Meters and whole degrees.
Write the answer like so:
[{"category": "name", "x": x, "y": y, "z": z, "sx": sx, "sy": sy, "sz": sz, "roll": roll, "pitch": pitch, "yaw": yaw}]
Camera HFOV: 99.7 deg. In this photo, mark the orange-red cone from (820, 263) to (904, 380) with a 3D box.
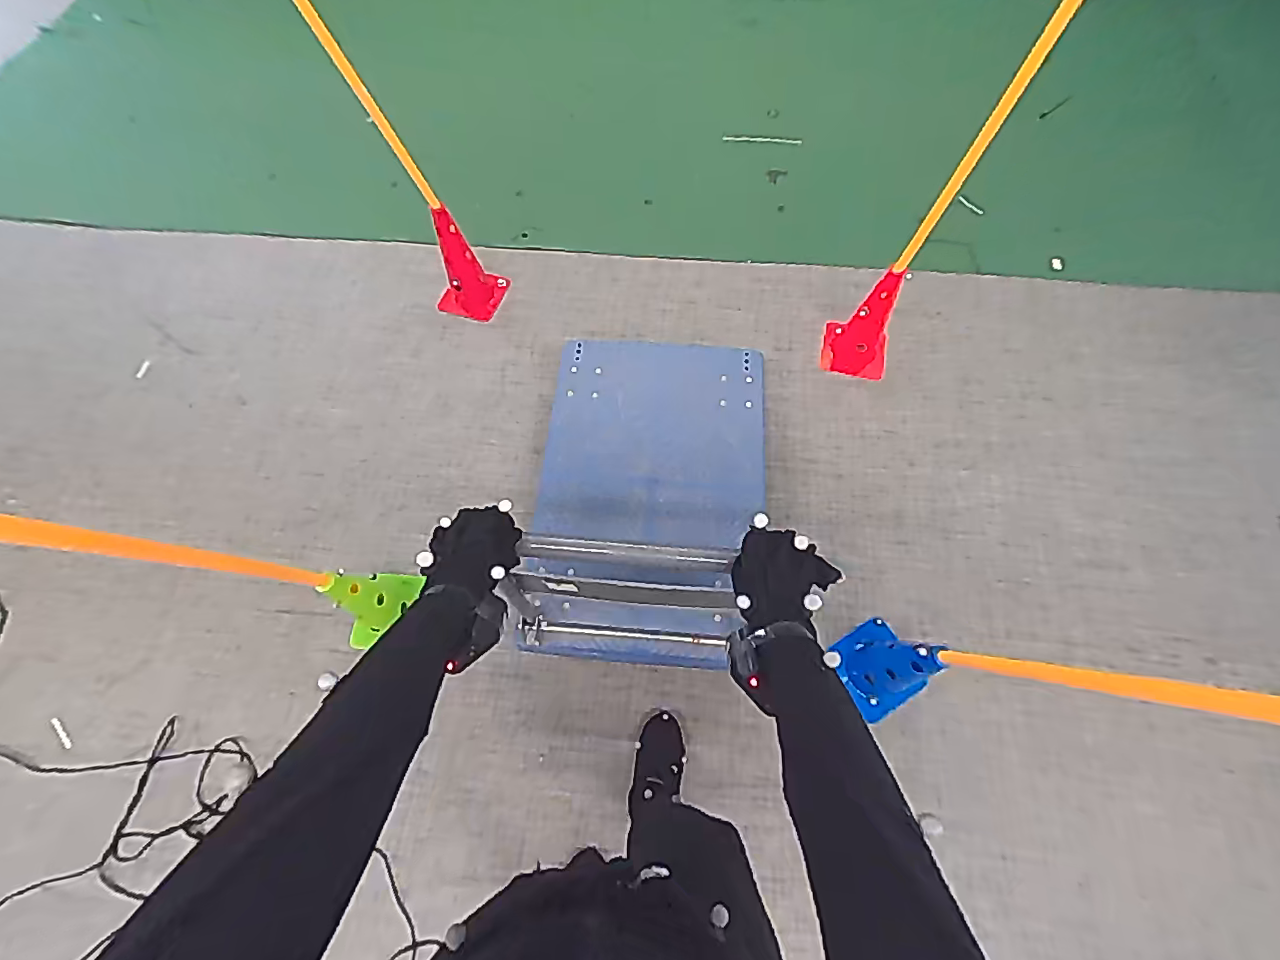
[{"category": "orange-red cone", "x": 0.683, "y": -0.485, "z": 1.582, "sx": 0.198, "sy": 0.360, "sz": 0.199, "roll": 14, "pitch": 68, "yaw": 8}]
